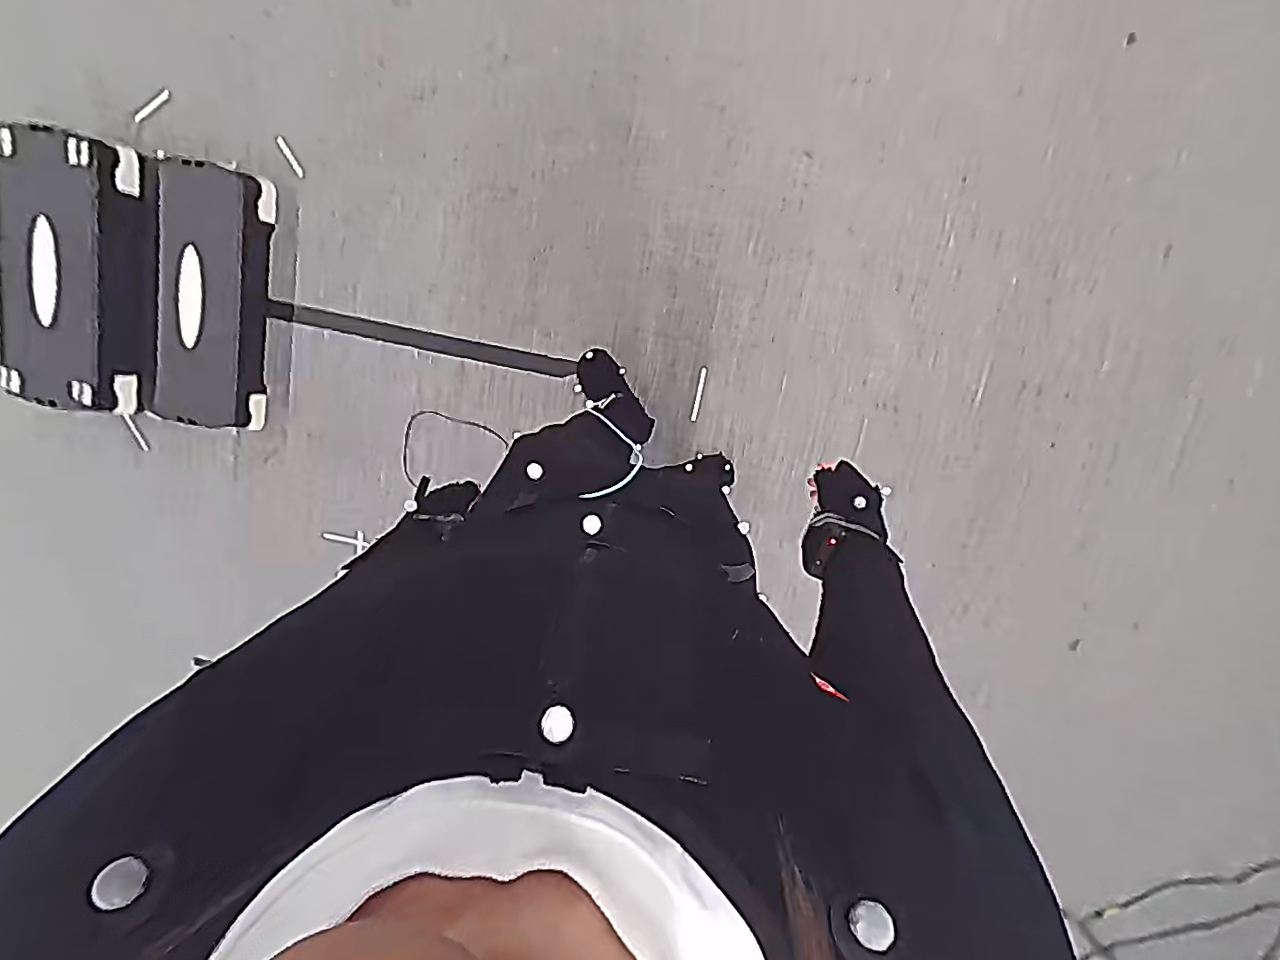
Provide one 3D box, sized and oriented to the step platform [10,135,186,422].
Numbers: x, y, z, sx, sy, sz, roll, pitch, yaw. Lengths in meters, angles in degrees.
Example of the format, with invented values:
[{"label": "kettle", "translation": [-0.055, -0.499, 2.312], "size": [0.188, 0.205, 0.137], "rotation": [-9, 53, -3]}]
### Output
[{"label": "step platform", "translation": [-1.404, -0.498, 1.409], "size": [0.286, 0.204, 0.684], "rotation": [10, 100, 3]}]
